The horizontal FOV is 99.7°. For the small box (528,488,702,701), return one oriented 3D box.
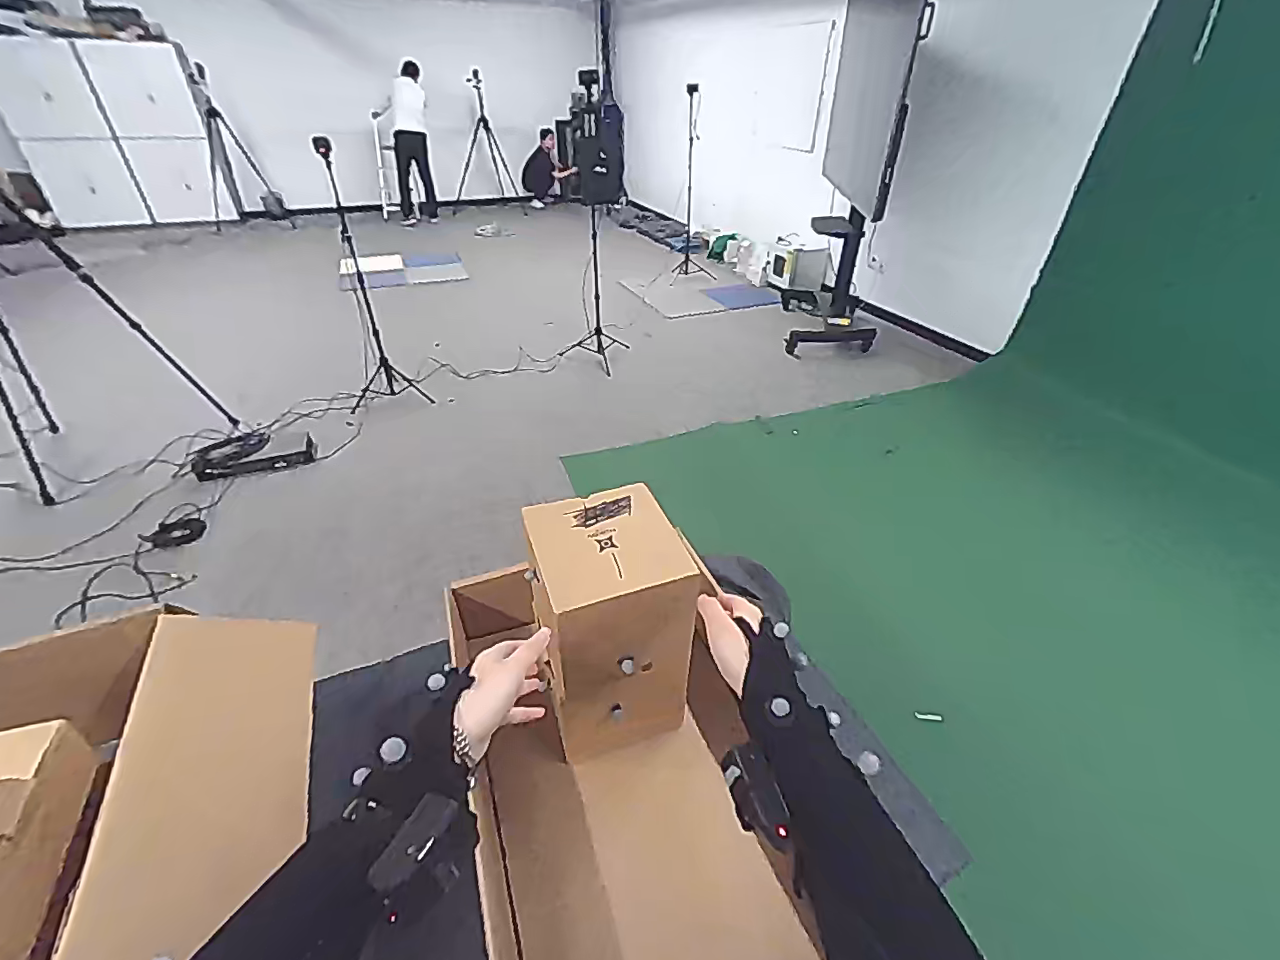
[{"bbox_3d":[-0.039,0.139,0.678,0.168,0.176,0.179,-12,40,-17],"label":"small box"}]

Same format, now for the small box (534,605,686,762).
[{"bbox_3d":[-0.041,0.269,0.778,0.179,0.176,0.168,-13,39,-16],"label":"small box"}]
